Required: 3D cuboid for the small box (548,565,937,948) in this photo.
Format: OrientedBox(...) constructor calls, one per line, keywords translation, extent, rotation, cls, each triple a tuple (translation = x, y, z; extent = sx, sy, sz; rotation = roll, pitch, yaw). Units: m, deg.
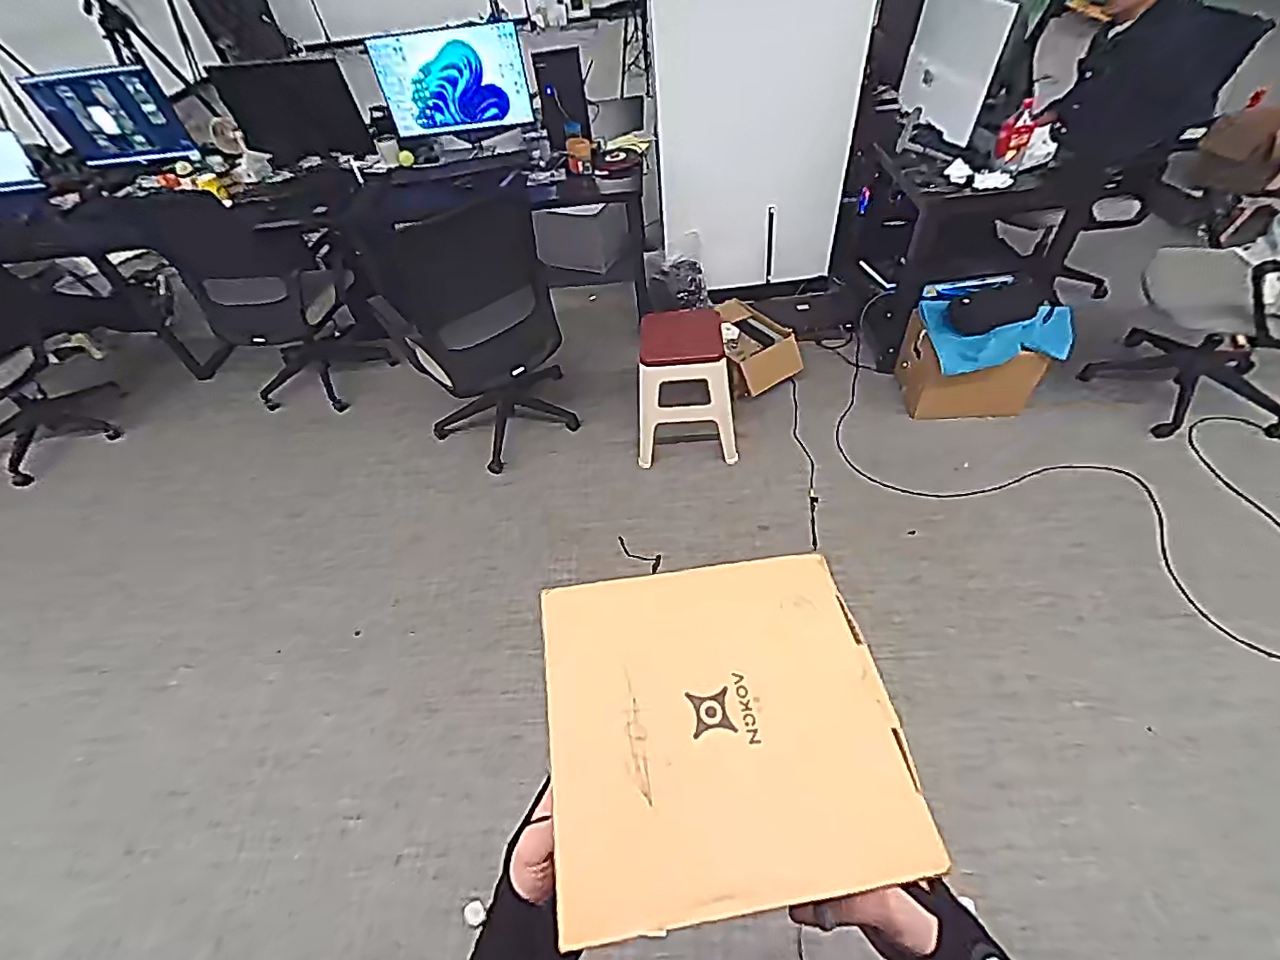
OrientedBox(translation=(0.041, 0.176, 0.351), extent=(0.179, 0.176, 0.168), rotation=(-8, 52, -5), cls="small box")
